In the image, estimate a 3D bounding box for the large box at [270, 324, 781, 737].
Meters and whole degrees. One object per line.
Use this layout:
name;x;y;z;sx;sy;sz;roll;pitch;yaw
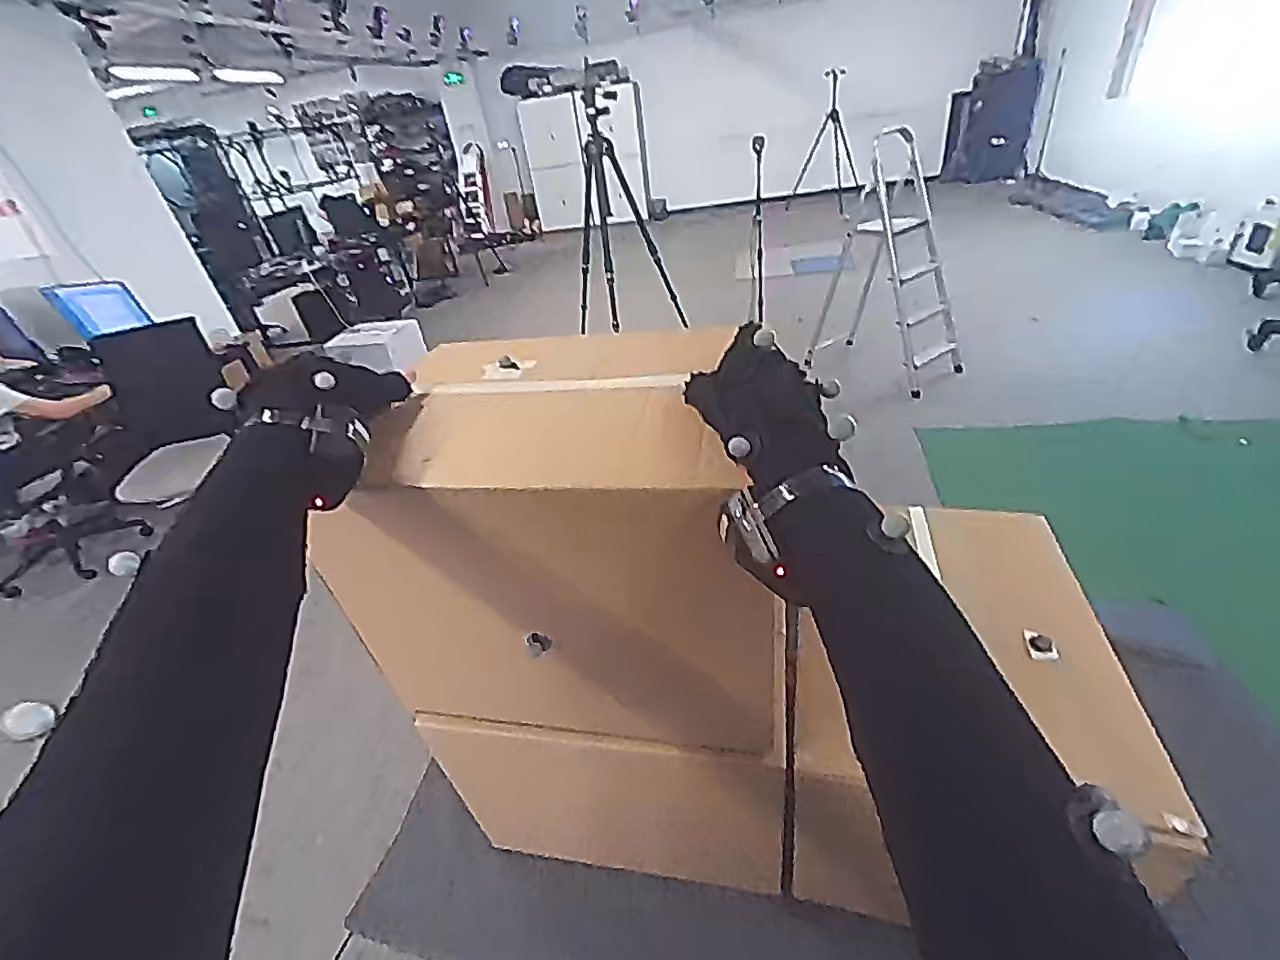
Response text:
large box;-0.059;0.046;0.595;0.408;0.320;0.320;-1;34;14
